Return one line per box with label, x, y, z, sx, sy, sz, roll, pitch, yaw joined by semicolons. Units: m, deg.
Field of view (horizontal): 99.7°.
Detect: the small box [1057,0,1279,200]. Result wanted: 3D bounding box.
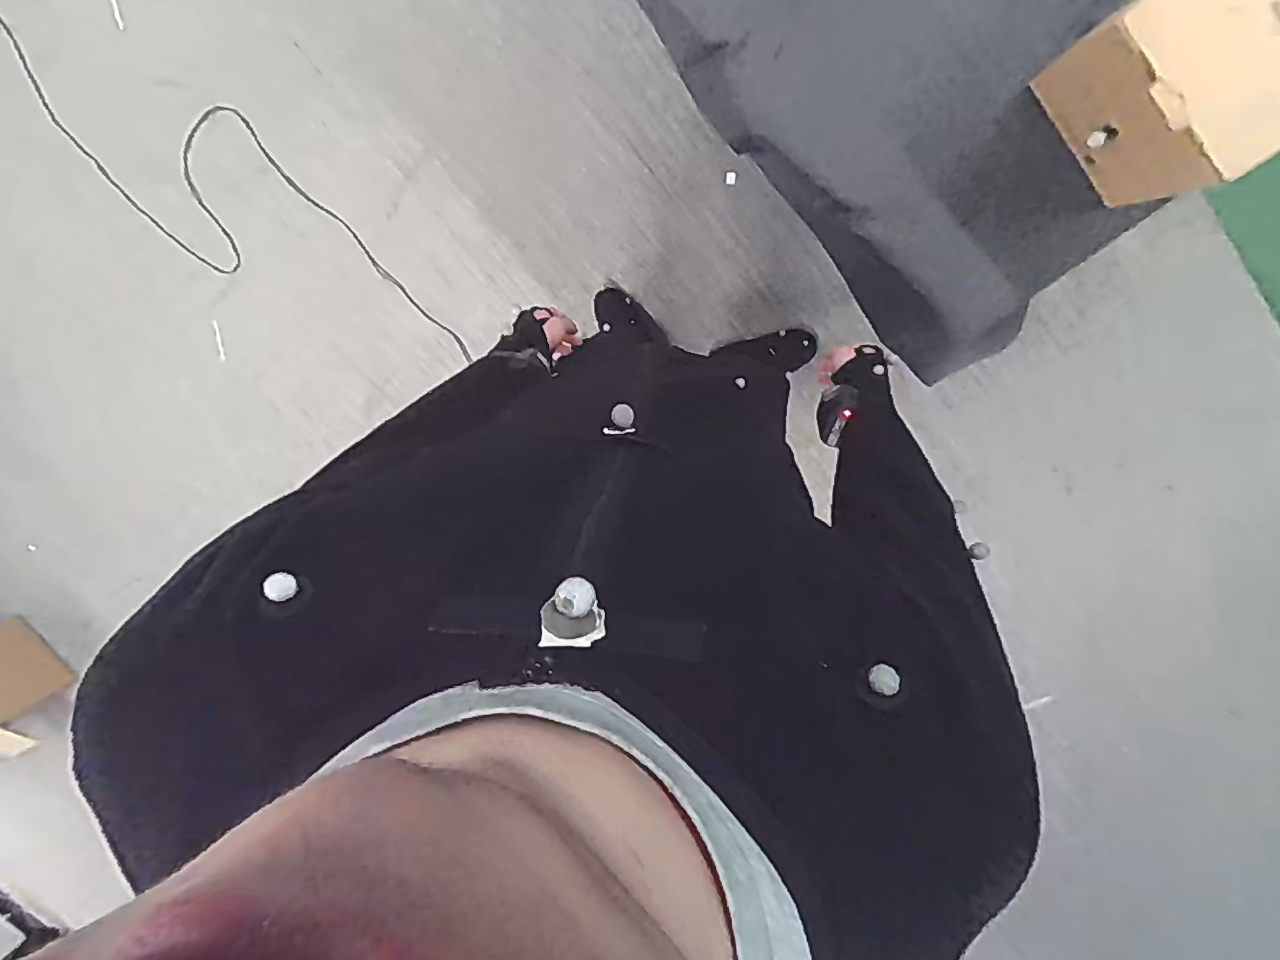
small box;0.511;-0.375;0.469;0.179;0.176;0.168;-36;98;23
